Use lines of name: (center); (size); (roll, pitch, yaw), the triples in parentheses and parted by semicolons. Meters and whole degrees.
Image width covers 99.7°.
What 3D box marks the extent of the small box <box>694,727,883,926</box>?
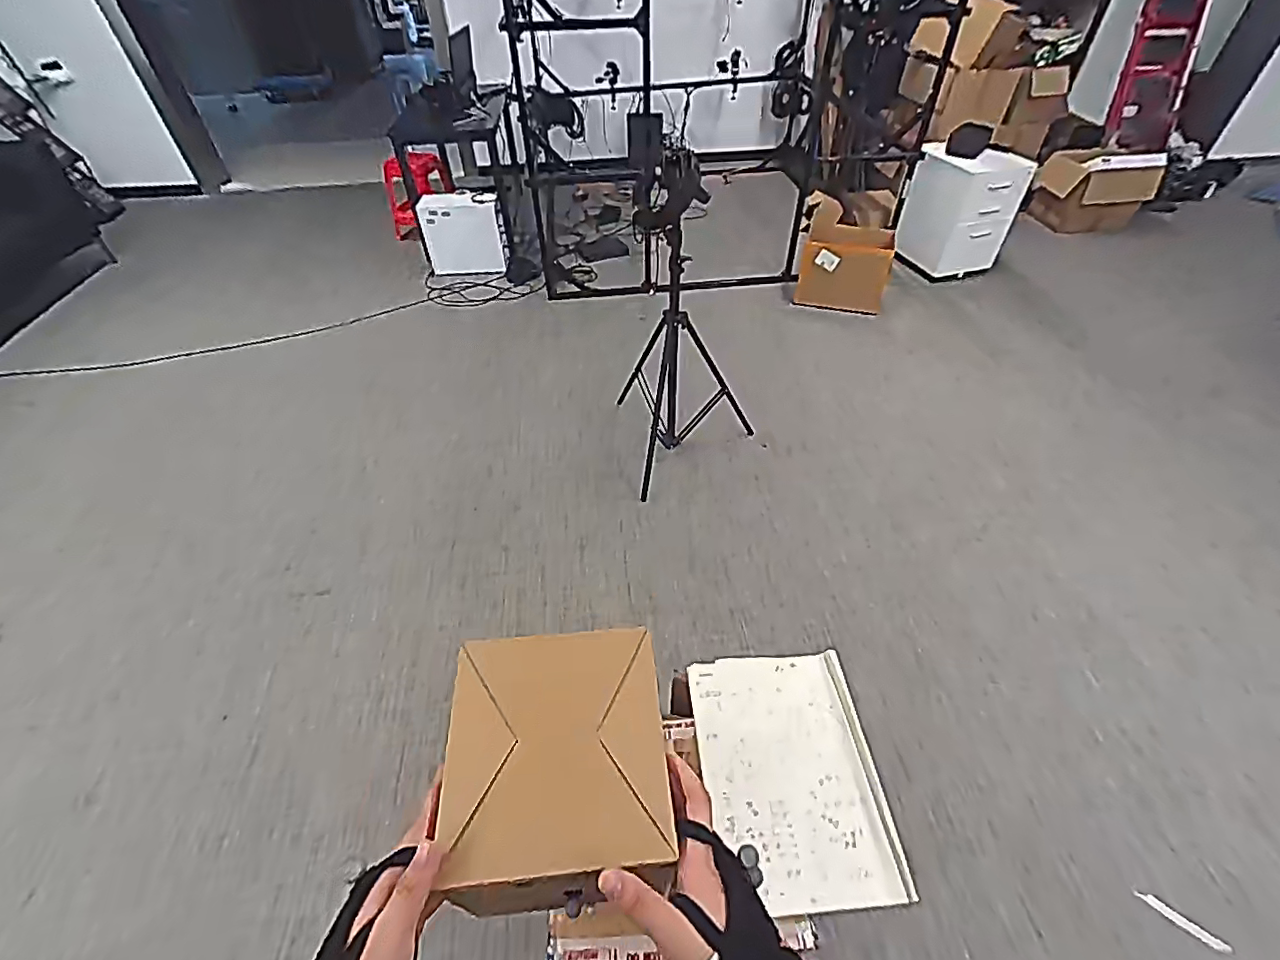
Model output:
small box: (0.164, 0.429, 0.671); (0.168, 0.176, 0.179); (-2, 48, -4)
